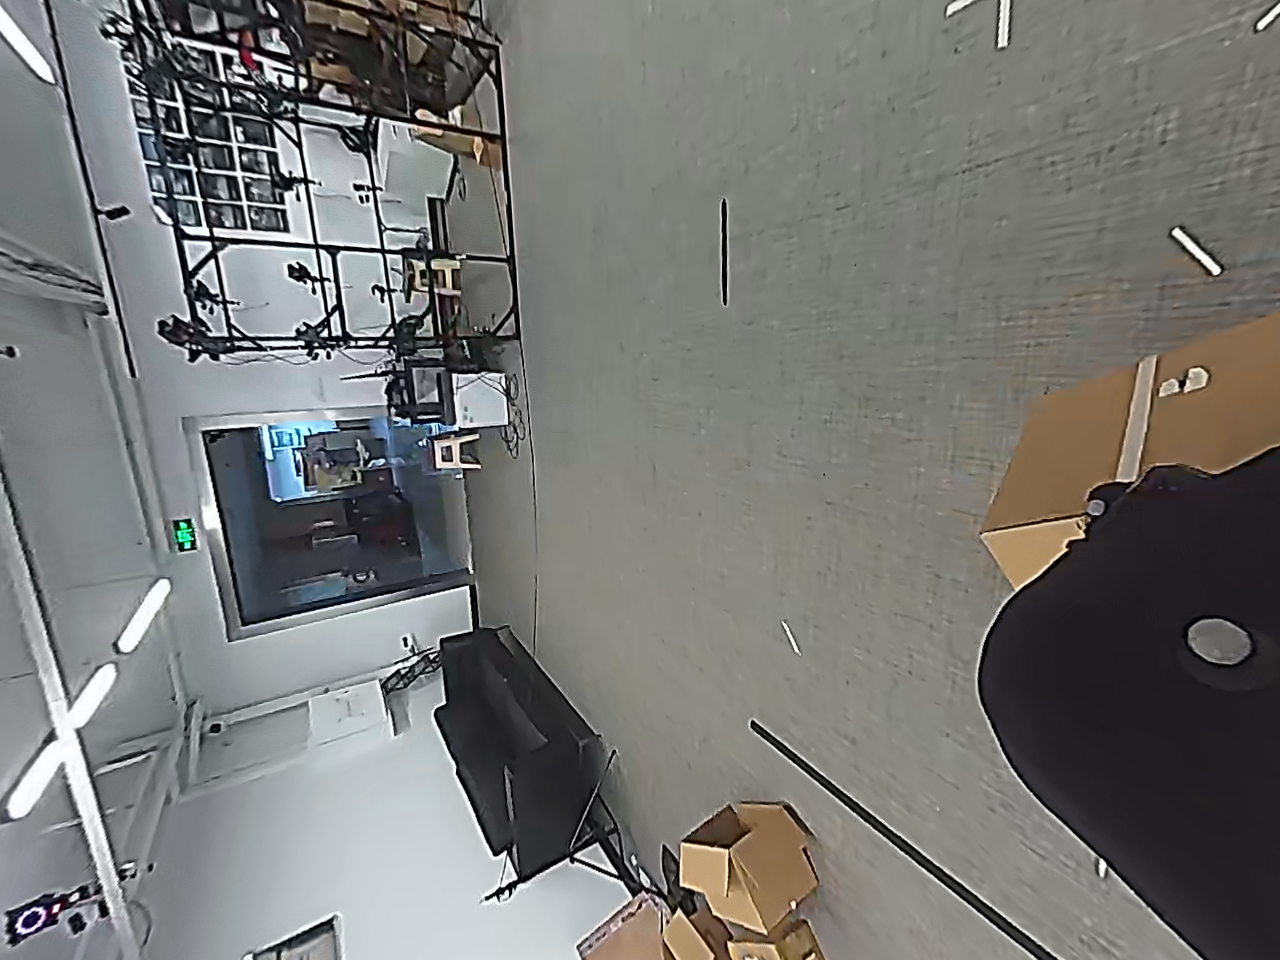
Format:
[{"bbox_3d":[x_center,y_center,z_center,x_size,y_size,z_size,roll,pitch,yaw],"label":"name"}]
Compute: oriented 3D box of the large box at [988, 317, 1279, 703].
[{"bbox_3d":[0.761,0.042,0.740,0.320,0.408,0.320,55,147,-7],"label":"large box"}]
